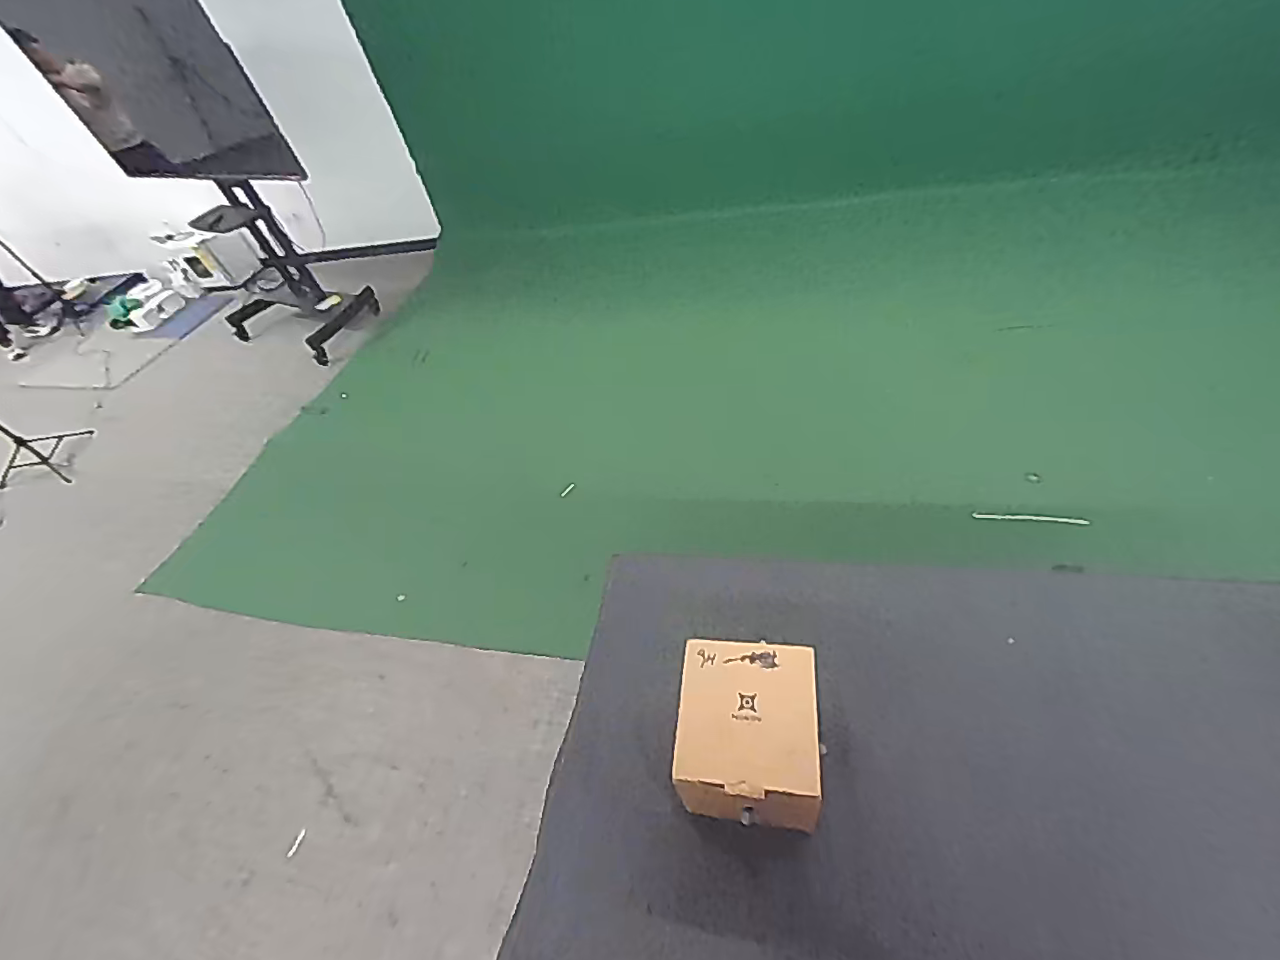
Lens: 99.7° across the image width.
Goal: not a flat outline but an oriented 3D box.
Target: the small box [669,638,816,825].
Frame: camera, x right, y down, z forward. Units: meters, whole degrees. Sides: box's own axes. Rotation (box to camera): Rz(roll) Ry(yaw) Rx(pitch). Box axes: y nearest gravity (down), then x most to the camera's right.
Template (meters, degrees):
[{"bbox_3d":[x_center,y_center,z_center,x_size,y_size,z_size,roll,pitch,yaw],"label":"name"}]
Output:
[{"bbox_3d":[0.141,0.330,0.709,0.168,0.176,0.179,0,48,14],"label":"small box"}]
